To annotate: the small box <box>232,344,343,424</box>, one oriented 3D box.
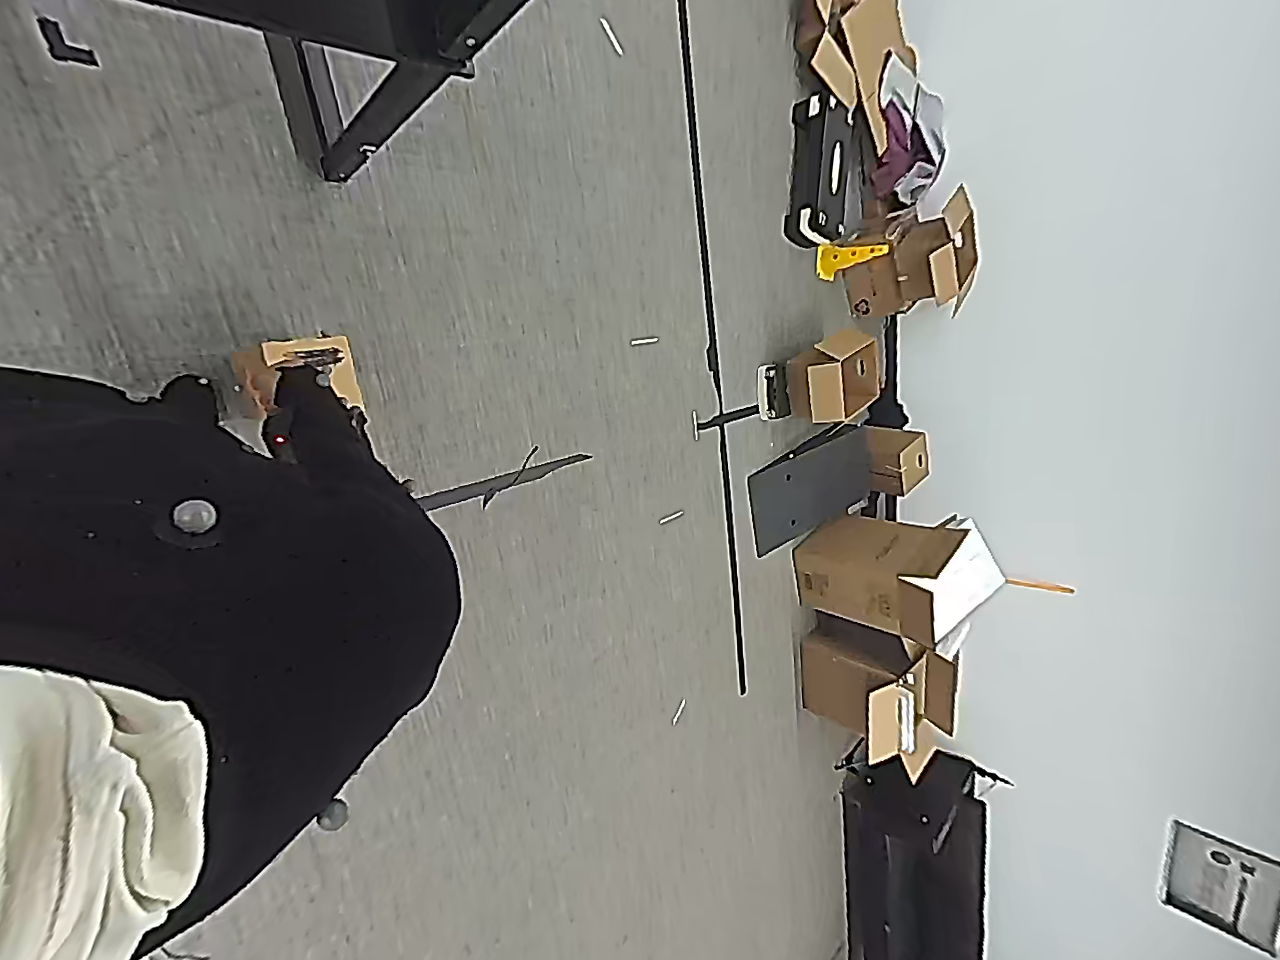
[{"bbox_3d":[-0.872,-0.241,1.337,0.179,0.176,0.168,-22,111,-39],"label":"small box"}]
